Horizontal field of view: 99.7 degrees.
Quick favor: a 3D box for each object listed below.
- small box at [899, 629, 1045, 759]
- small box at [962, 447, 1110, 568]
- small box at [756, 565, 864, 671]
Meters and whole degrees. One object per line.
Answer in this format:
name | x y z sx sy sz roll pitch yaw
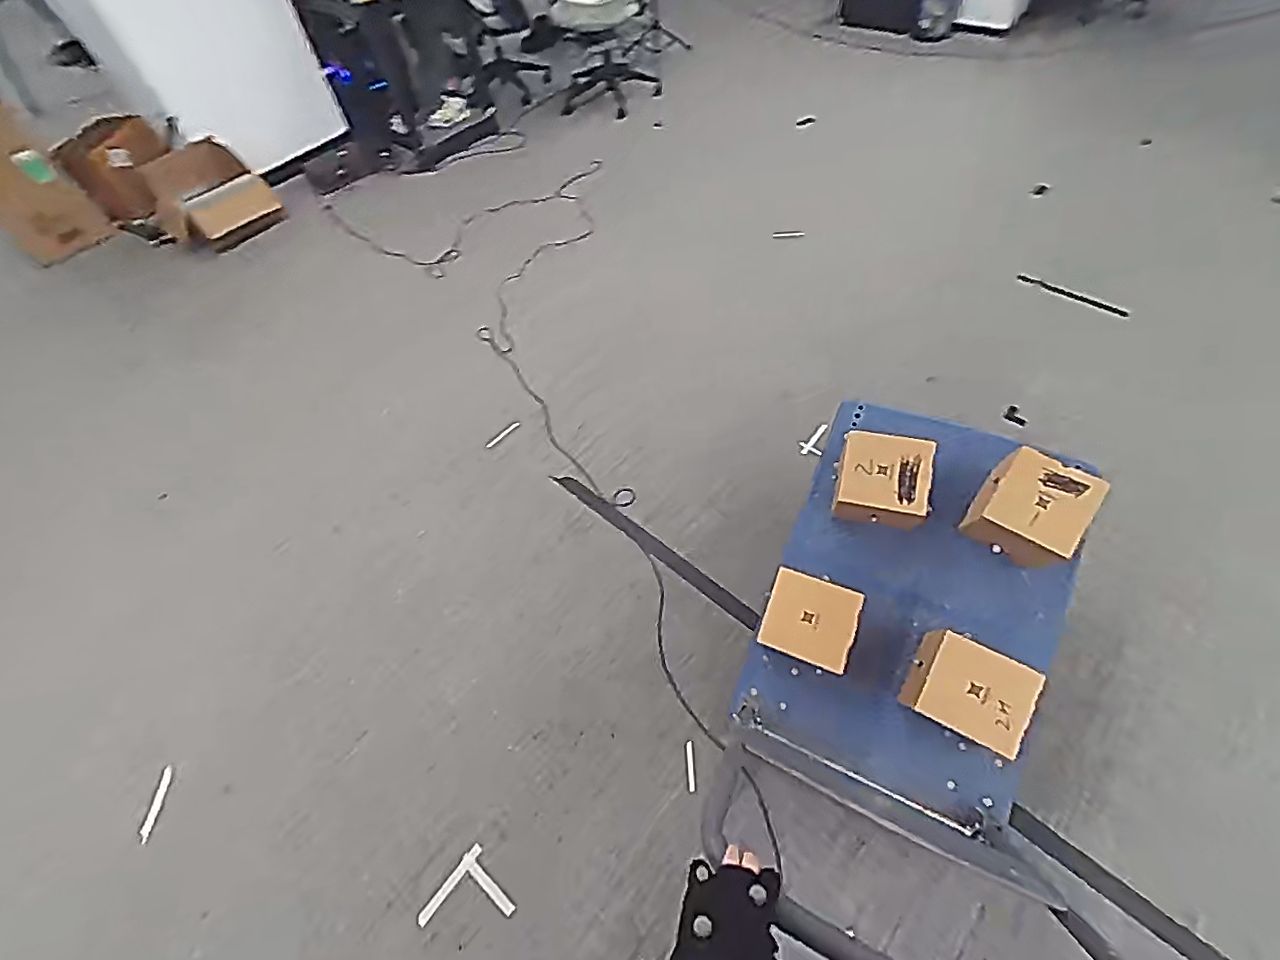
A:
small box | 0.639 0.414 1.066 0.179 0.176 0.168 26 81 20
small box | 0.812 0.064 1.132 0.168 0.176 0.179 32 84 21
small box | 0.361 0.301 1.171 0.179 0.176 0.168 18 78 17
